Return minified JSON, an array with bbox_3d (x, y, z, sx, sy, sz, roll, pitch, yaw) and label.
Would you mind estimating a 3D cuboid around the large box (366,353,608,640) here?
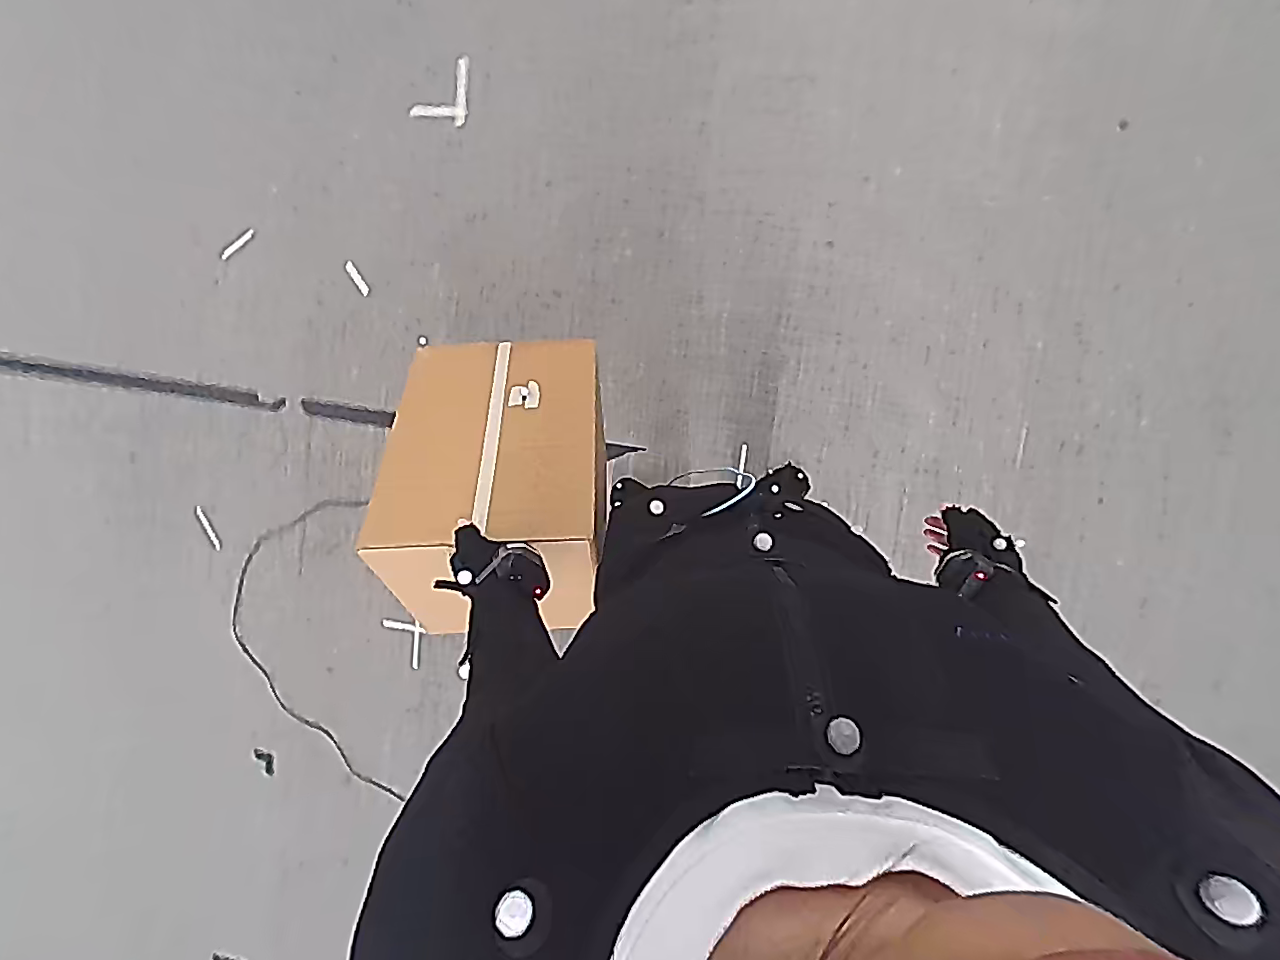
[{"bbox_3d":[-0.229,0.030,0.965,0.320,0.320,0.408,-3,53,-1],"label":"large box"}]
